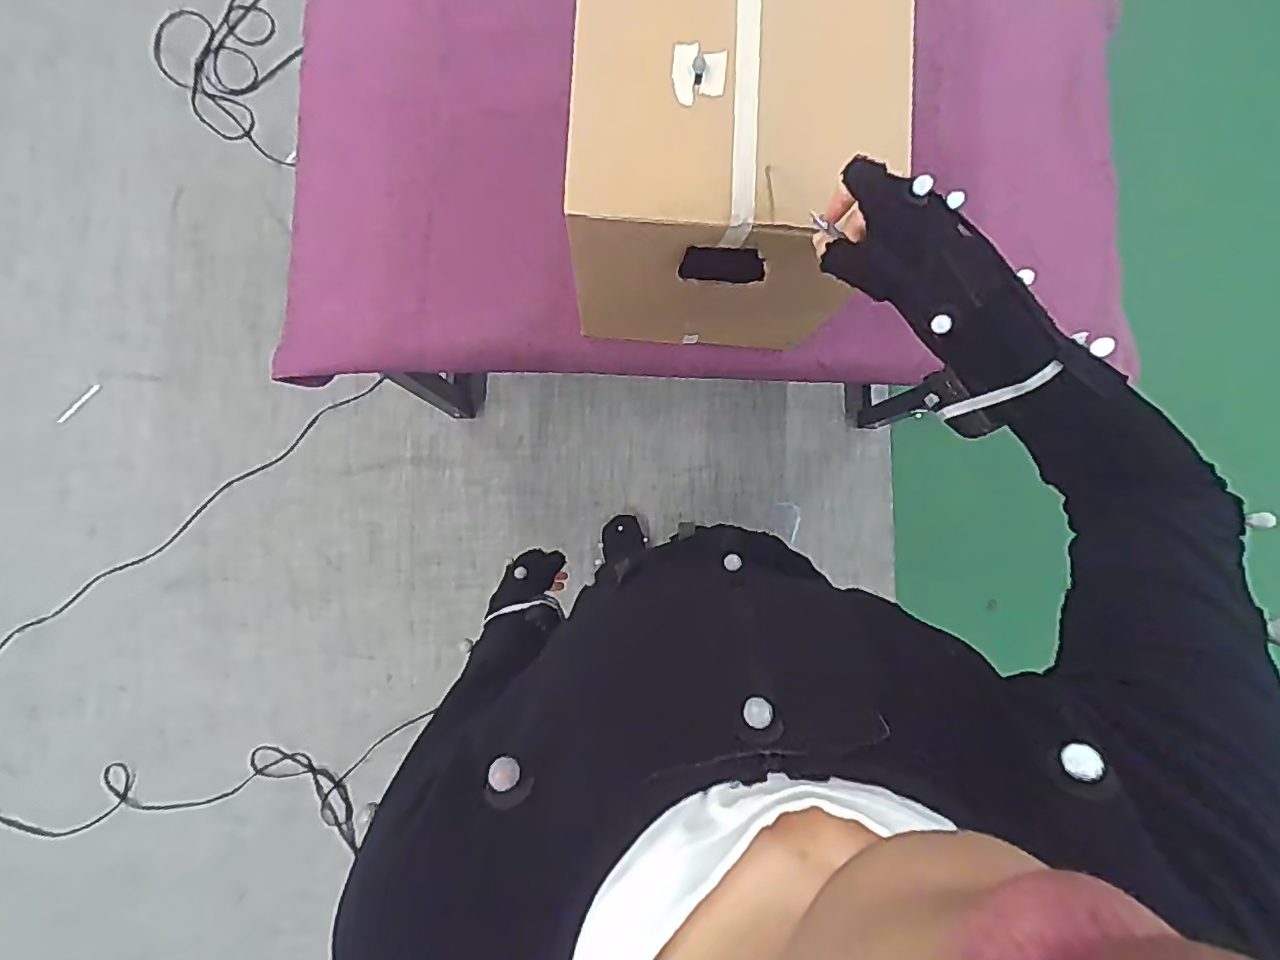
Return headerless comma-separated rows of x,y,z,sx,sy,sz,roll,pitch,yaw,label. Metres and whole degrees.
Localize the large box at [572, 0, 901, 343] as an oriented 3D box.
0.087,-0.418,0.658,0.320,0.320,0.408,3,87,-3,large box
